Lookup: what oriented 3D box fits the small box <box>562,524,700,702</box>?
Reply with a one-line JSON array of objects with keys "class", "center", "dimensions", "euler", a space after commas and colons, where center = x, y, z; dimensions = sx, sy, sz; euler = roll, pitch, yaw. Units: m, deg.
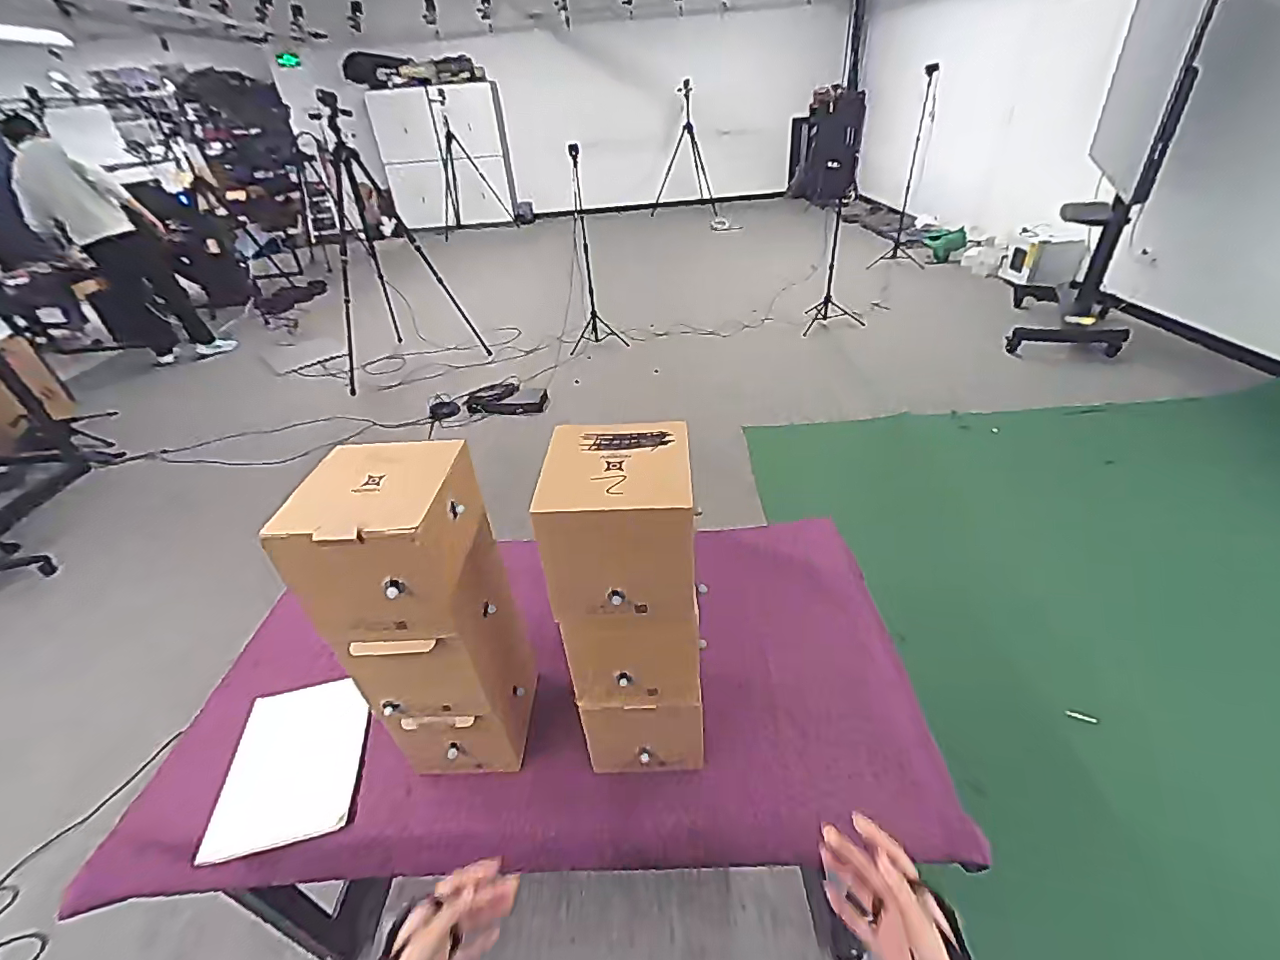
[{"class": "small box", "center": [-0.005, 0.181, 0.749], "dimensions": [0.168, 0.176, 0.179], "euler": [-3, 35, 3]}]

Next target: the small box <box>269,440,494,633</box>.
[{"class": "small box", "center": [-0.289, 0.069, 0.656], "dimensions": [0.168, 0.176, 0.179], "euler": [-2, 35, 3]}]

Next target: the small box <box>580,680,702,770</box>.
[{"class": "small box", "center": [0.008, 0.318, 0.835], "dimensions": [0.168, 0.176, 0.179], "euler": [-4, 35, 4]}]

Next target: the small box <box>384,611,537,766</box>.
[{"class": "small box", "center": [-0.266, 0.331, 0.854], "dimensions": [0.168, 0.176, 0.179], "euler": [-2, 36, 2]}]

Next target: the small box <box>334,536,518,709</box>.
[{"class": "small box", "center": [-0.278, 0.200, 0.754], "dimensions": [0.168, 0.176, 0.179], "euler": [-3, 34, 3]}]
